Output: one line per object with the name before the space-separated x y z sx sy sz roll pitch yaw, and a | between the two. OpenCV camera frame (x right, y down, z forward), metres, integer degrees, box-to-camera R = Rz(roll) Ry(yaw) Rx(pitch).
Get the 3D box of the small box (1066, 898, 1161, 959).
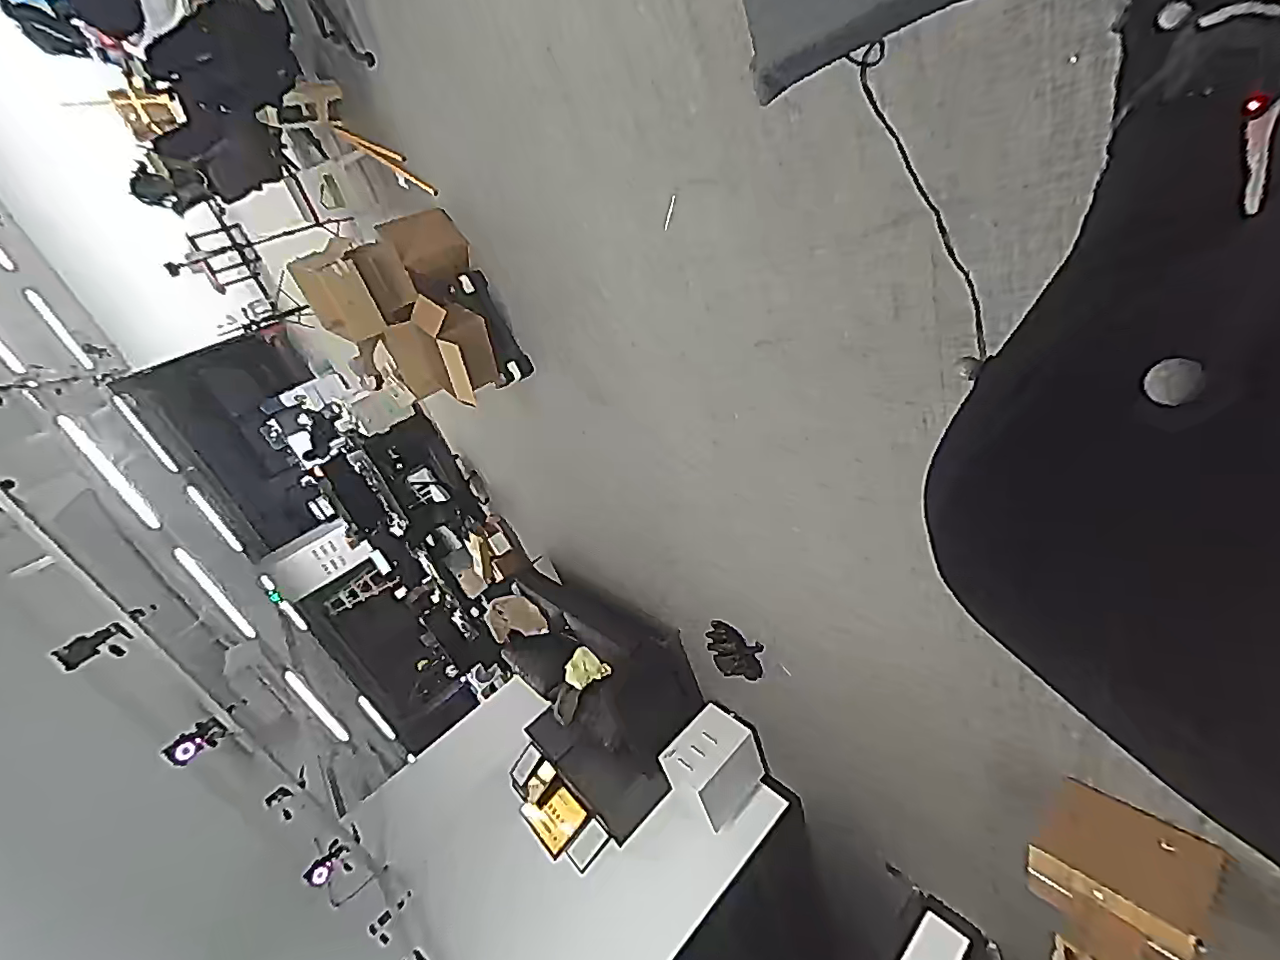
small box | 1.440 1.431 1.648 0.179 0.176 0.168 14 127 53
